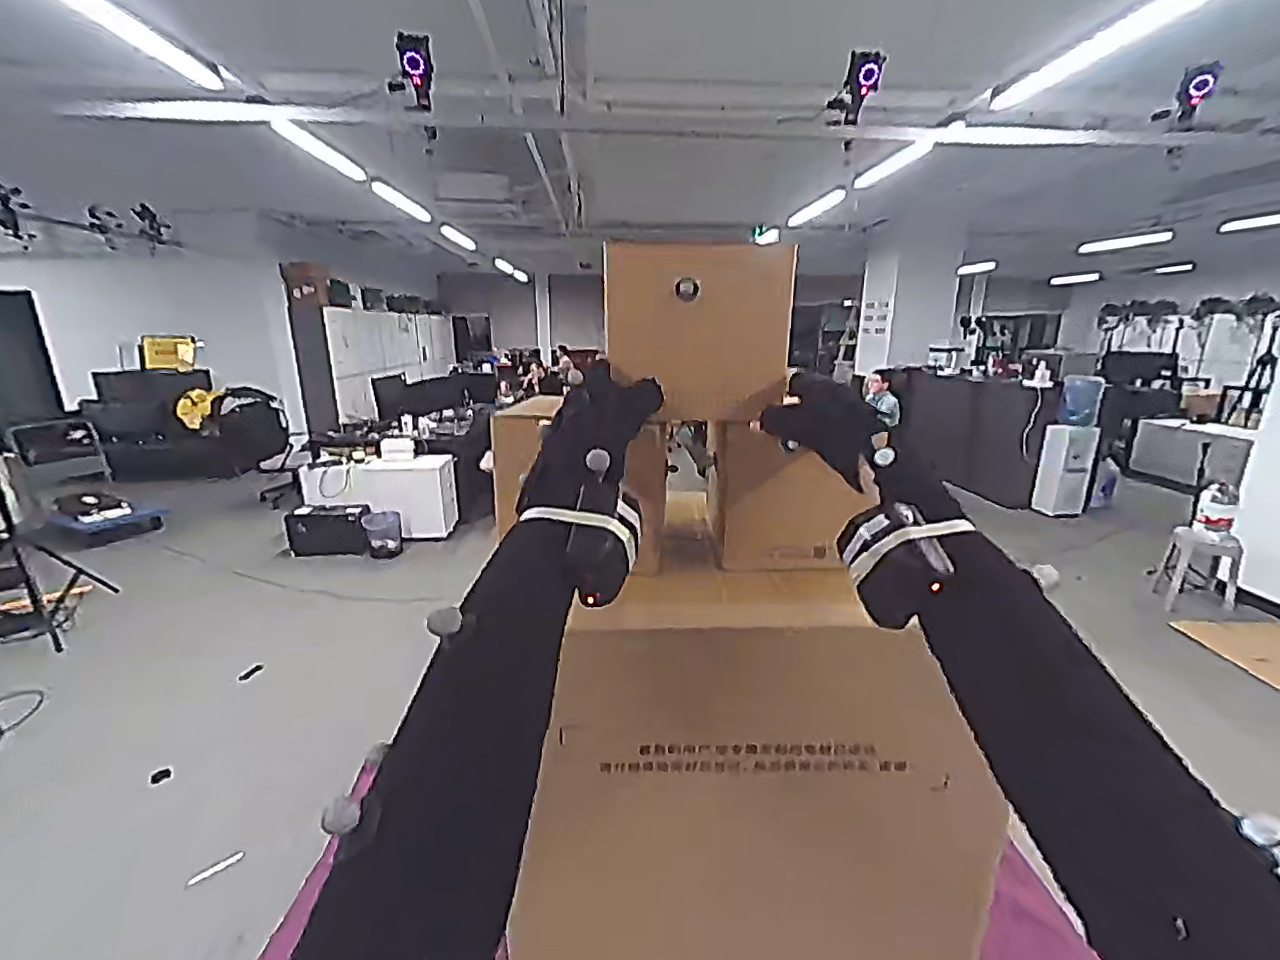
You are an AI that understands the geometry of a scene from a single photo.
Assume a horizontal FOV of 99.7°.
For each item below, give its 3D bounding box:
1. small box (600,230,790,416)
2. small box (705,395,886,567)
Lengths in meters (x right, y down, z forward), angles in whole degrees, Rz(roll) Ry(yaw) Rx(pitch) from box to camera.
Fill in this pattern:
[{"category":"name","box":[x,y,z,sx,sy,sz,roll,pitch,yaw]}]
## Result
[{"category":"small box","box":[0.051,-0.162,0.583,0.179,0.176,0.168,0,16,-1]},{"category":"small box","box":[0.169,-0.008,0.647,0.168,0.176,0.179,-1,16,0]}]
